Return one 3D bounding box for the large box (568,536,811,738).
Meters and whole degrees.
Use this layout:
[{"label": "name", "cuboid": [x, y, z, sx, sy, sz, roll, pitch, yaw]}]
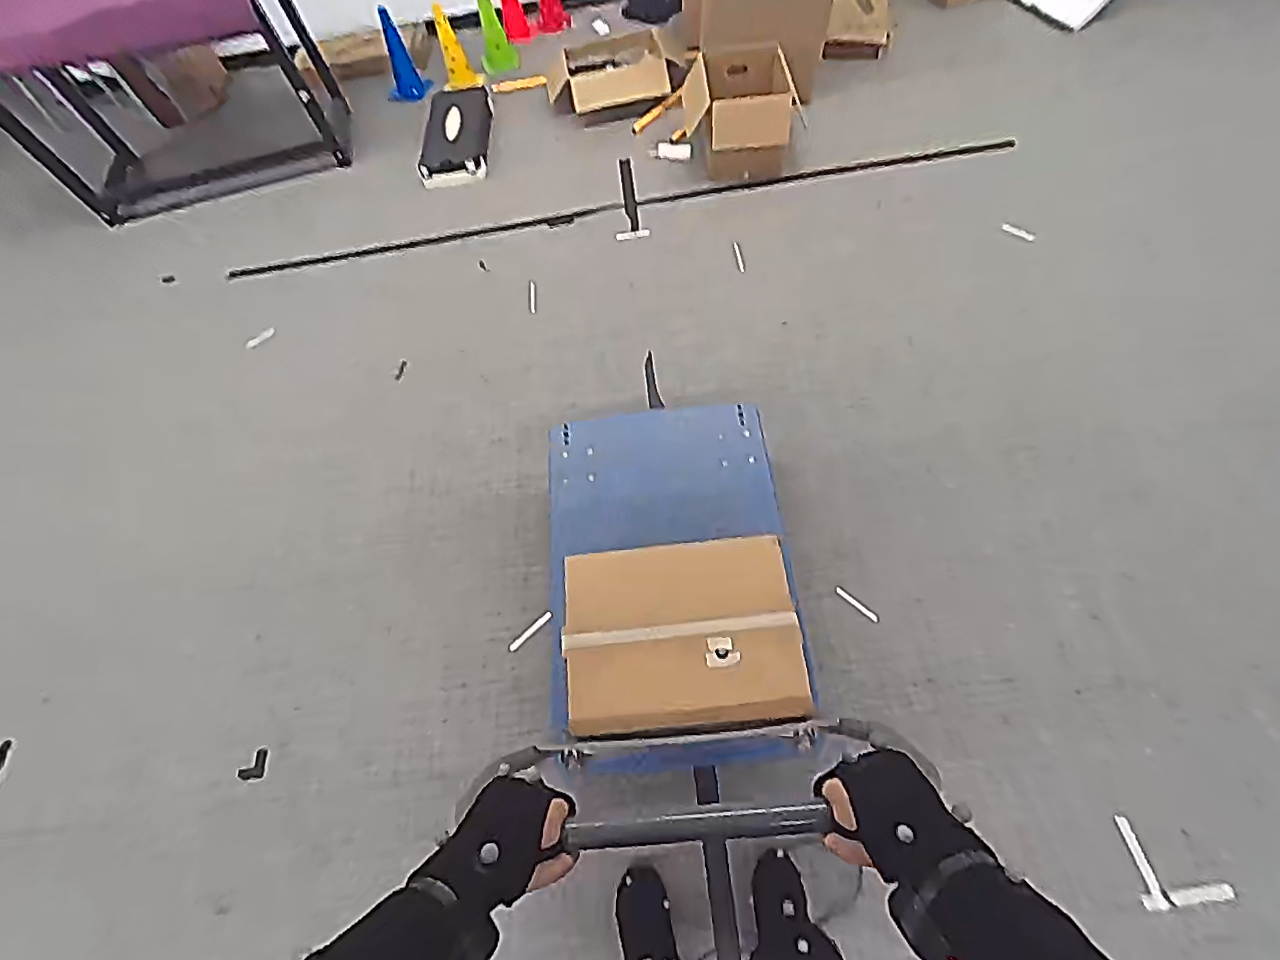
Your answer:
[{"label": "large box", "cuboid": [0.083, 0.332, 1.097, 0.408, 0.320, 0.320, -7, 65, 1]}]
